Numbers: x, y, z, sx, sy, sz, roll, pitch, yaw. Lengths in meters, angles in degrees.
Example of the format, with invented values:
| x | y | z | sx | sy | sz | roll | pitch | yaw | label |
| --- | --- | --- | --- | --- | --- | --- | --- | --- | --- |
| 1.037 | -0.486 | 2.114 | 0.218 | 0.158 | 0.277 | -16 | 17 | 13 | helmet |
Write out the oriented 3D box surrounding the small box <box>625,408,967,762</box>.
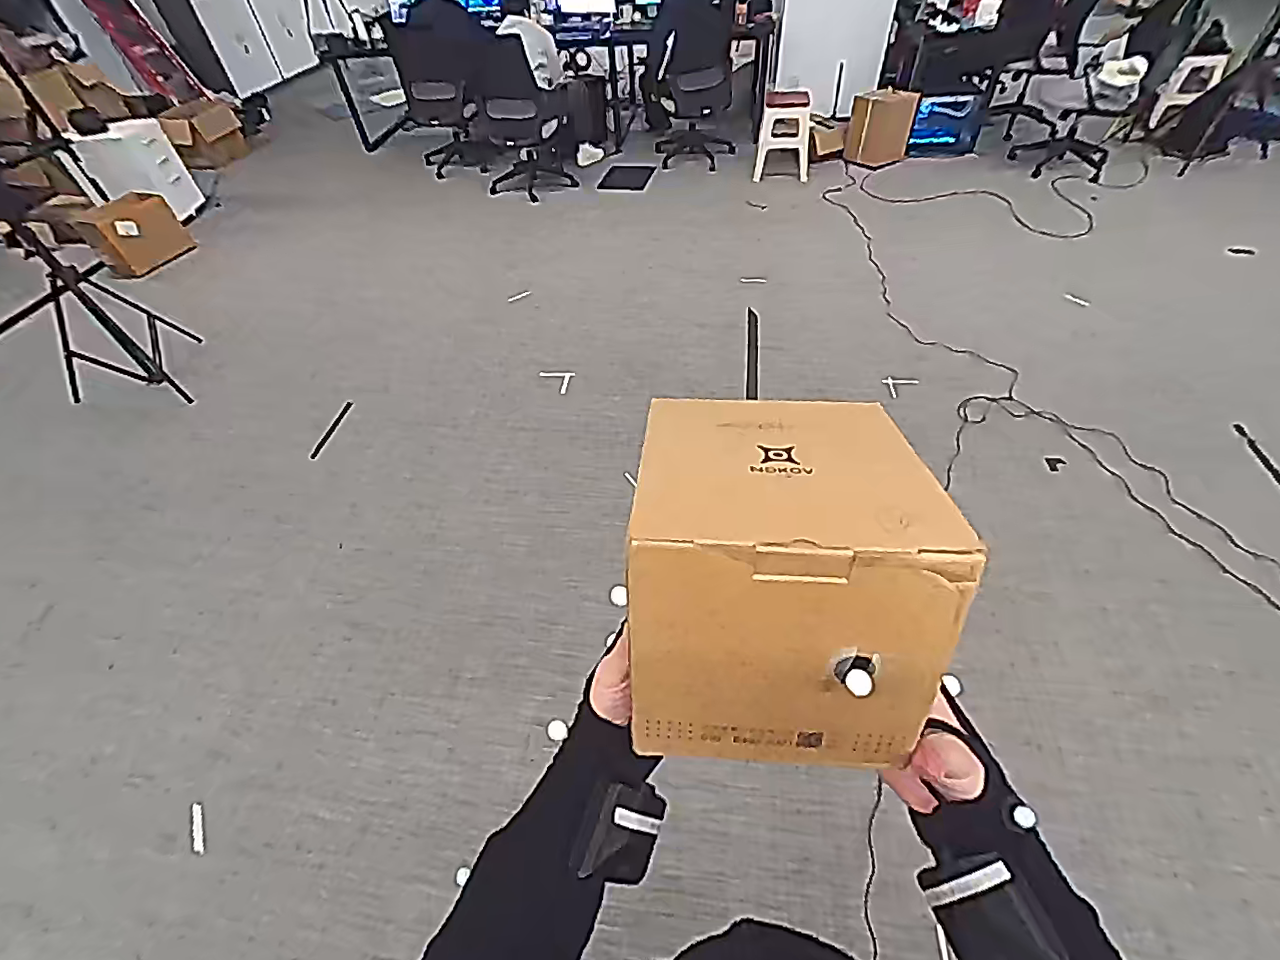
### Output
| x | y | z | sx | sy | sz | roll | pitch | yaw | label |
| --- | --- | --- | --- | --- | --- | --- | --- | --- | --- |
| 0.082 | 0.063 | 0.370 | 0.168 | 0.176 | 0.179 | 3 | 31 | 4 | small box |
